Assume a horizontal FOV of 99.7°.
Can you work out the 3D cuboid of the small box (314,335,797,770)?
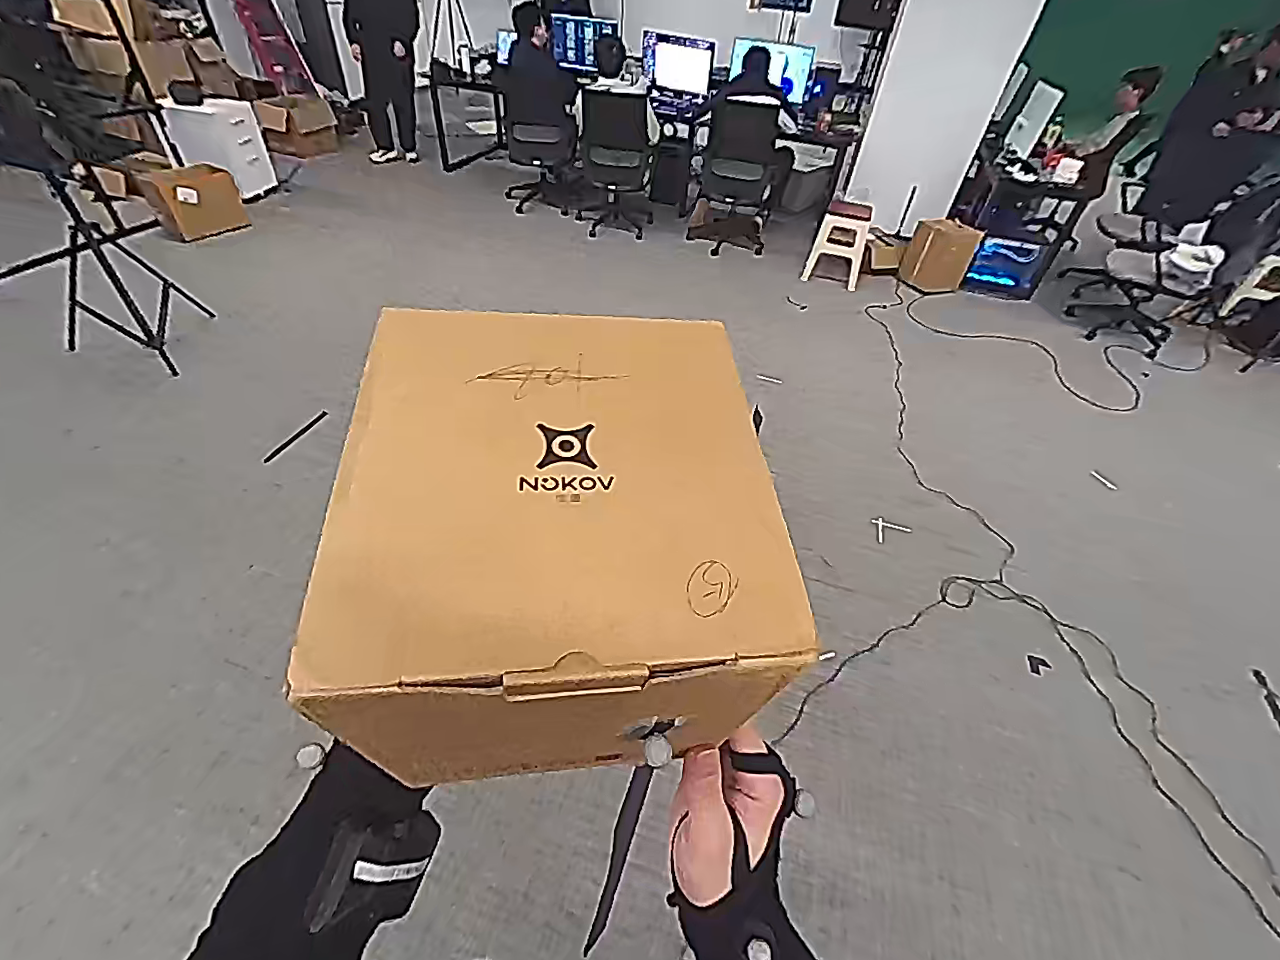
[{"bbox_3d":[-0.042,0.044,0.291,0.168,0.176,0.179,-2,53,-11],"label":"small box"}]
